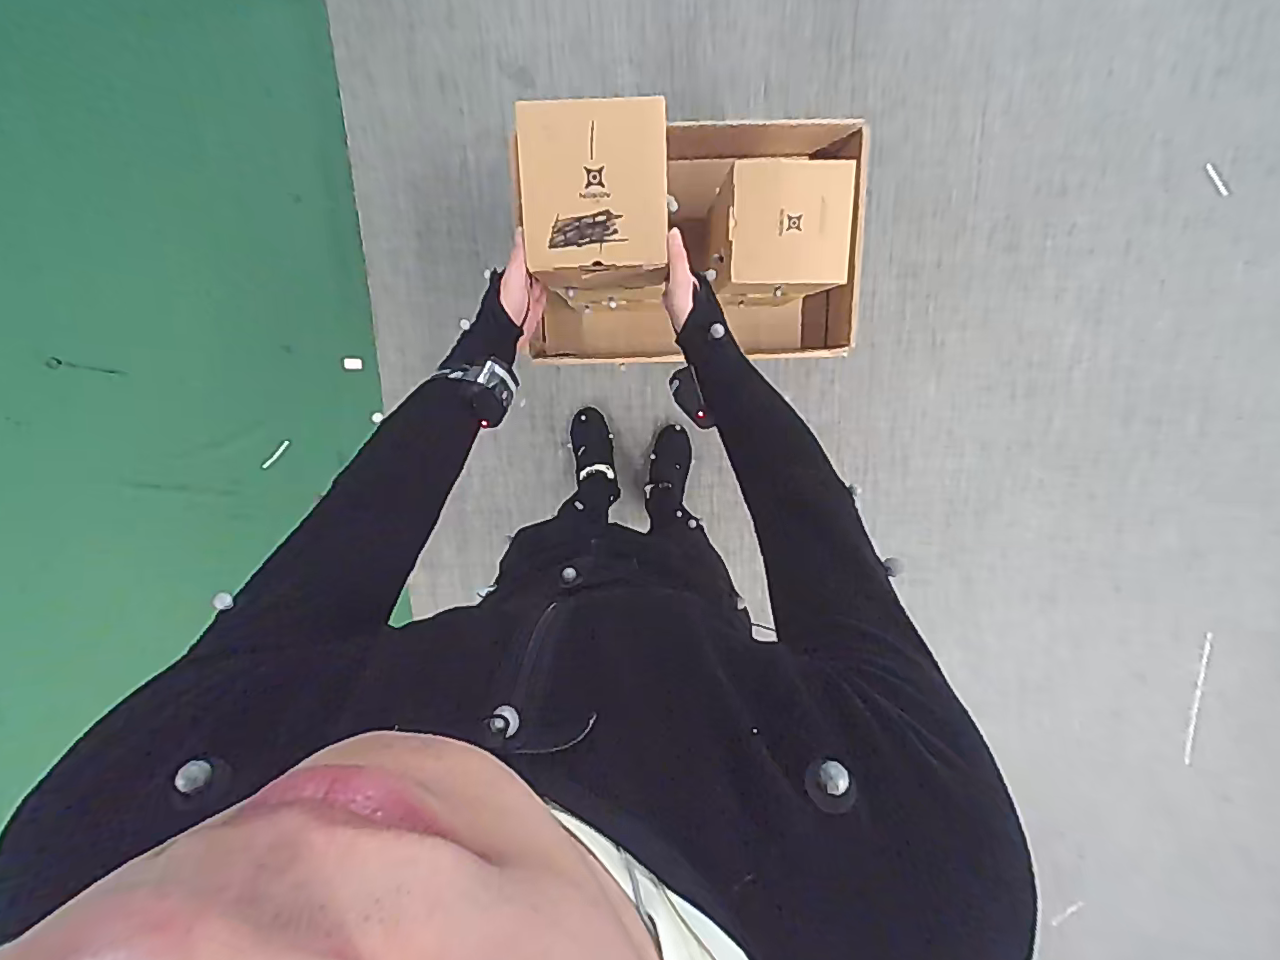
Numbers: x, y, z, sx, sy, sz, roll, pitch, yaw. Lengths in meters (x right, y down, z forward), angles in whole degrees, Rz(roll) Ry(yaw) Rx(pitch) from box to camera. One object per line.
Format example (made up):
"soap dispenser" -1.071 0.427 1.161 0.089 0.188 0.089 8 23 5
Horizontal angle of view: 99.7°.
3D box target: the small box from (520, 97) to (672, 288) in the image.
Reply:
"small box" -0.046 -0.339 0.673 0.168 0.176 0.179 -2 102 -1

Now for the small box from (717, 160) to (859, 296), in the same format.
"small box" 0.218 -0.383 0.848 0.179 0.176 0.168 0 104 -1

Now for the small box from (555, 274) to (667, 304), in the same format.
"small box" -0.044 -0.377 0.845 0.168 0.176 0.179 -1 102 1
